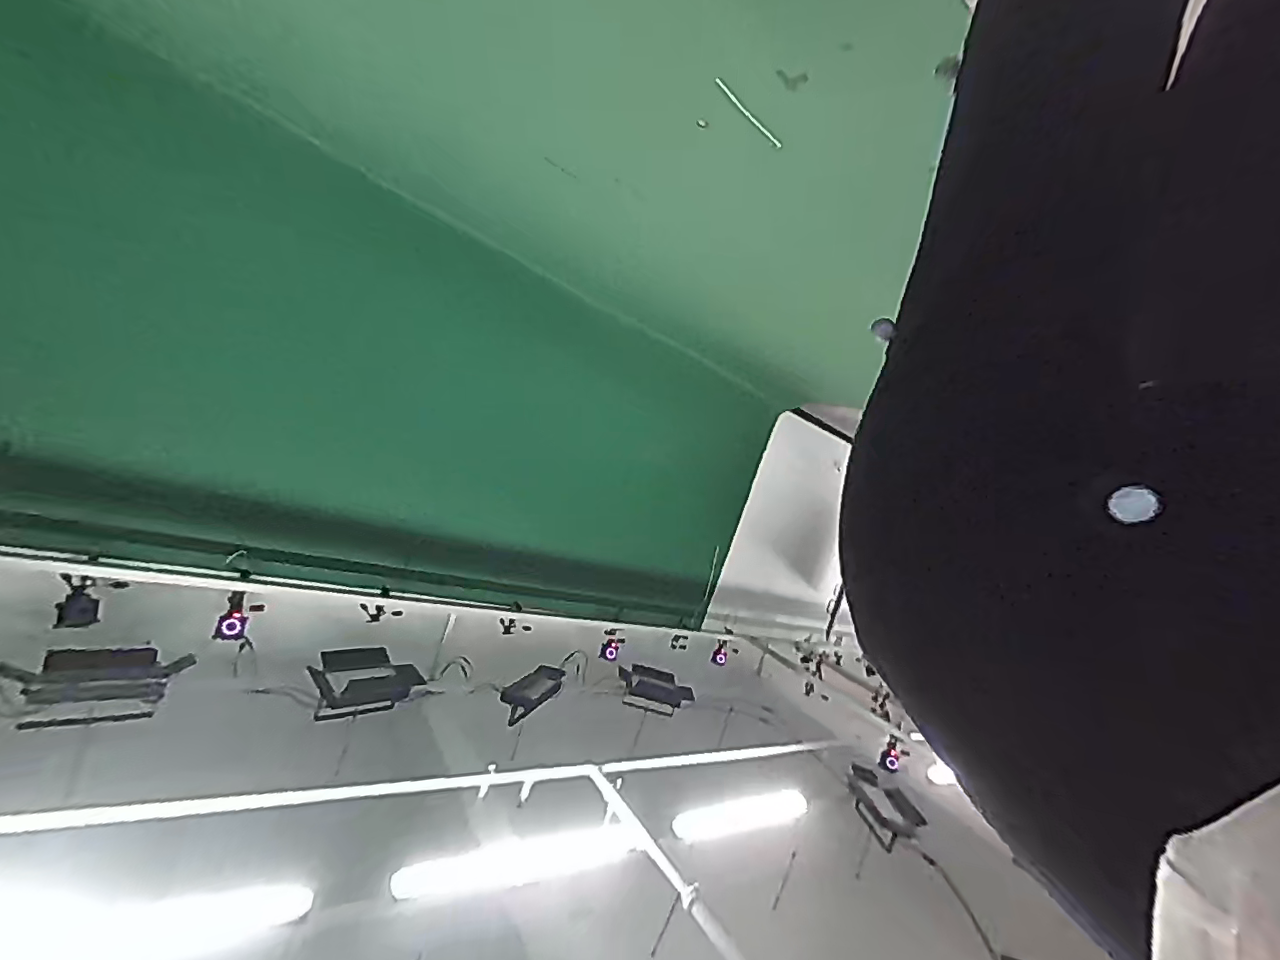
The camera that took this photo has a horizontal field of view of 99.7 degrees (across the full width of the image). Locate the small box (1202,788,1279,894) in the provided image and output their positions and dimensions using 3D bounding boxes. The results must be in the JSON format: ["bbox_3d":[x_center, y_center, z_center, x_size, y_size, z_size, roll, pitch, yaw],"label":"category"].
[{"bbox_3d":[1.648,0.956,1.440,0.179,0.176,0.168,14,-175,-37],"label":"small box"}]
